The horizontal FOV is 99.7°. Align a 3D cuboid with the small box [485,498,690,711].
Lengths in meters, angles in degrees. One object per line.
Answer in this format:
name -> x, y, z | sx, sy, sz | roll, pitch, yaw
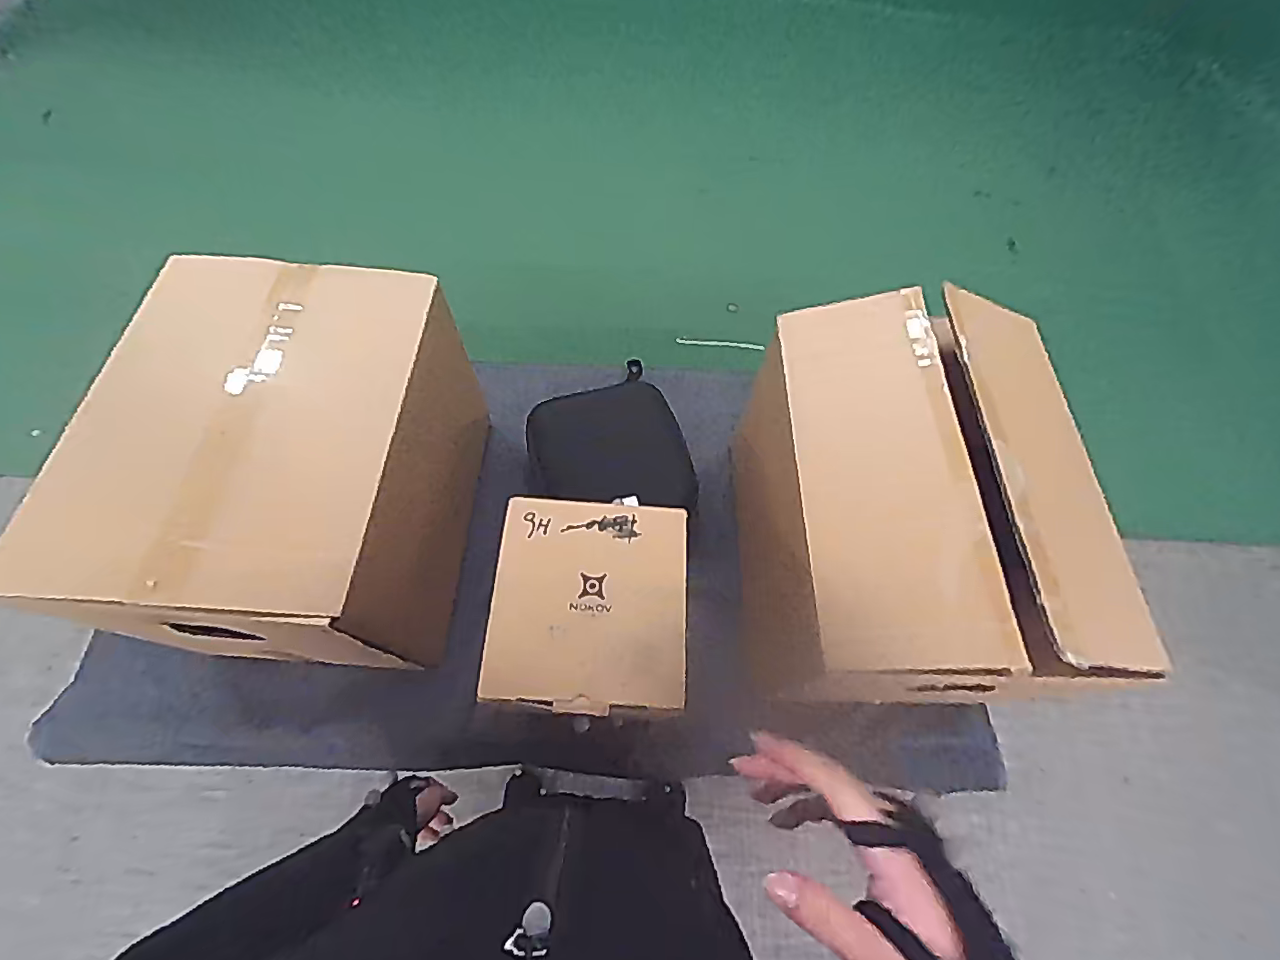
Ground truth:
small box -> -0.044, 0.133, 0.541 | 0.168, 0.176, 0.179 | 4, 66, -3
